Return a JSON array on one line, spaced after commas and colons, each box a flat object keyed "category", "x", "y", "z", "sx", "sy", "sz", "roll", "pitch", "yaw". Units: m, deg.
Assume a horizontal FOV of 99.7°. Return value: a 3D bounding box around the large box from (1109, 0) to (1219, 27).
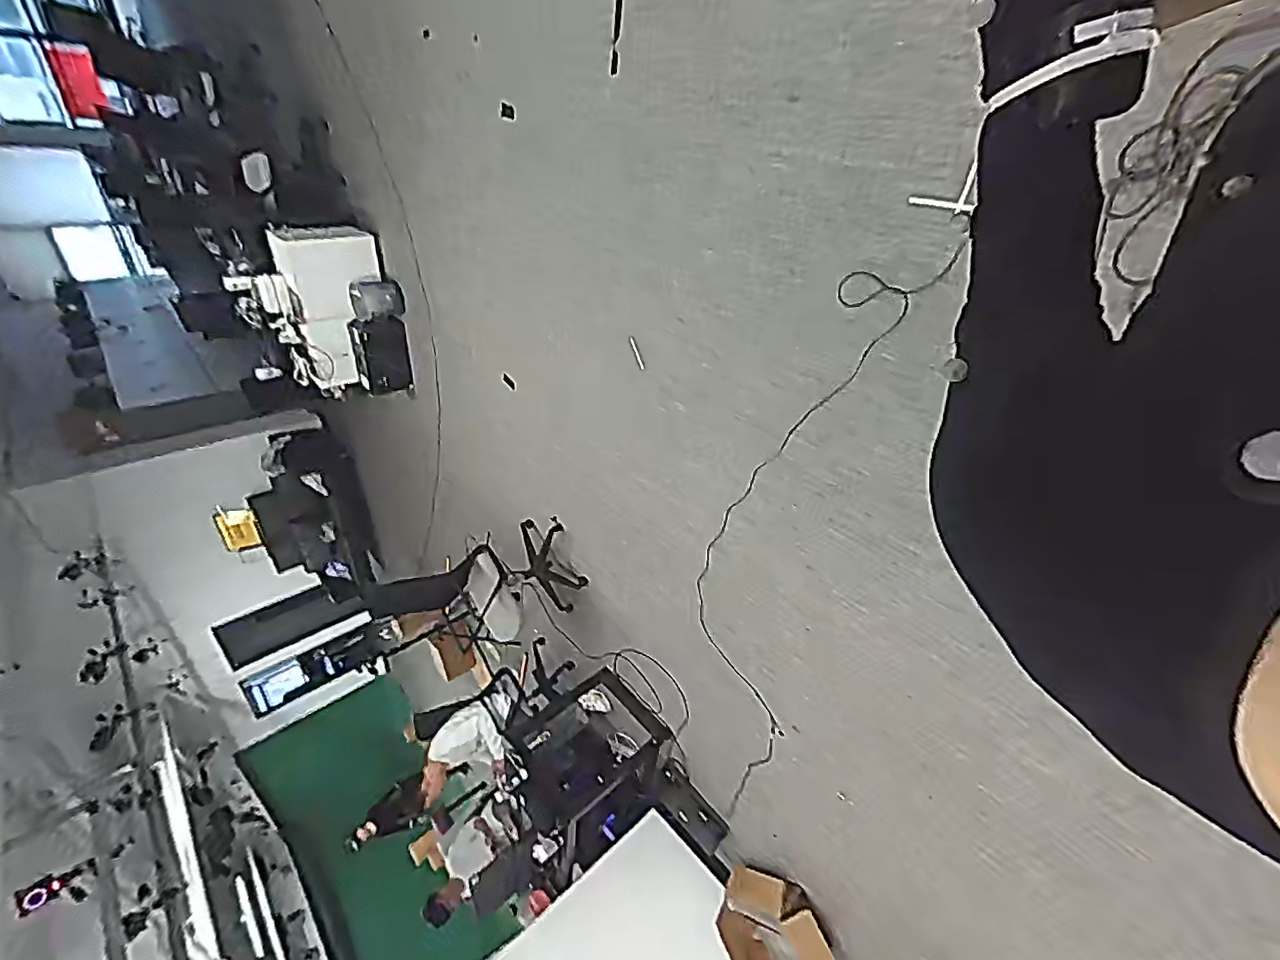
[{"category": "large box", "x": 0.491, "y": -0.516, "z": 0.260, "sx": 0.408, "sy": 0.320, "sz": 0.320, "roll": 4, "pitch": 119, "yaw": 47}]
